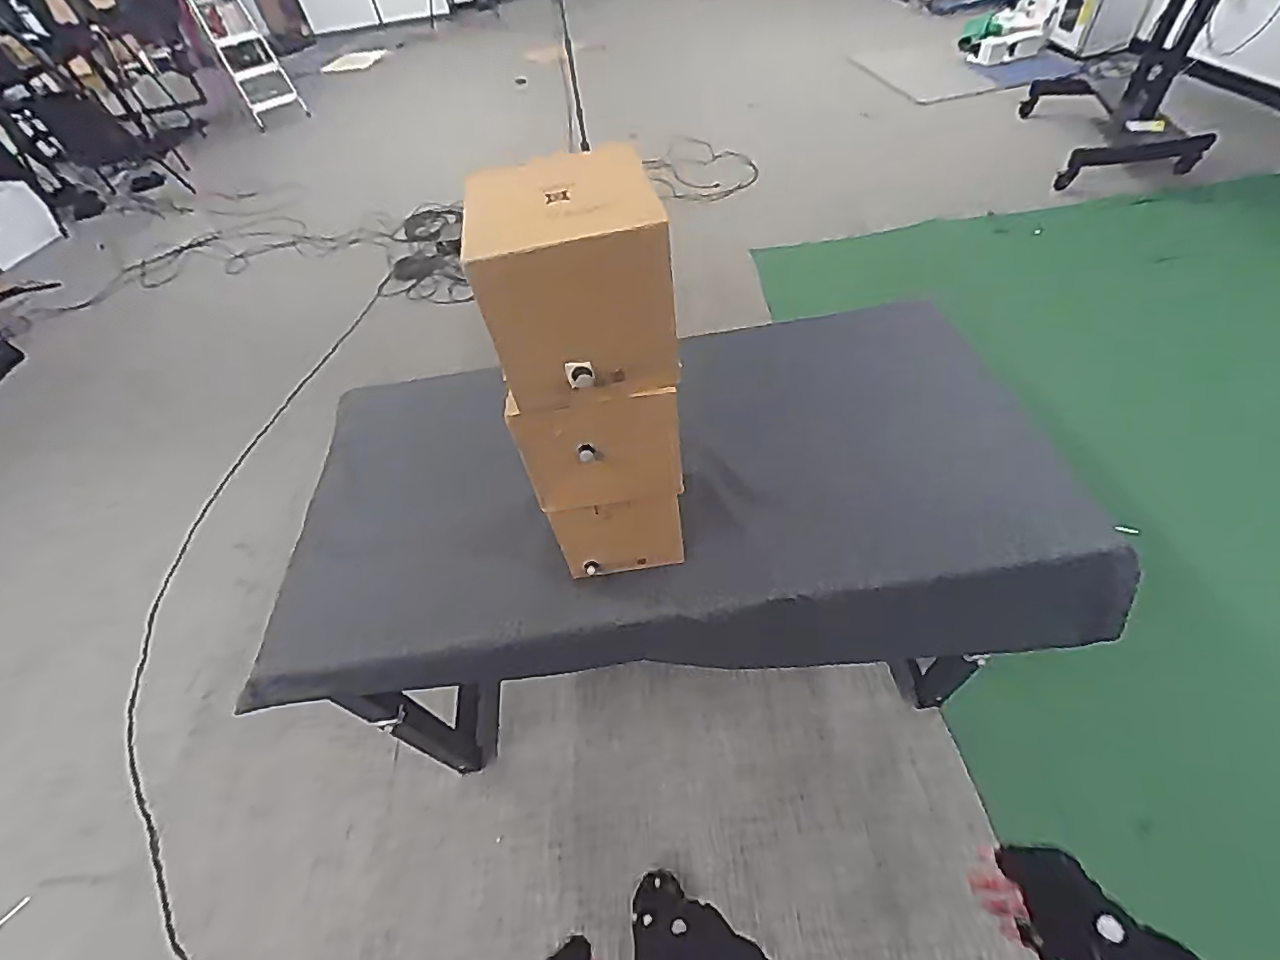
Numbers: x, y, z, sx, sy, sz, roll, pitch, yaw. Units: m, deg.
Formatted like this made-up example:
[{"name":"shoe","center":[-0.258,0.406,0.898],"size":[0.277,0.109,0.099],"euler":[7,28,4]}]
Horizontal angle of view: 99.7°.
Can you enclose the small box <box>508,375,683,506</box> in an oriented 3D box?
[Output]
[{"name":"small box","center":[-0.050,-0.087,0.662],"size":[0.179,0.176,0.168],"euler":[-10,48,-1]}]

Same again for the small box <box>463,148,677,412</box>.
[{"name":"small box","center":[-0.064,-0.195,0.538],"size":[0.168,0.176,0.179],"euler":[-13,51,-1]}]

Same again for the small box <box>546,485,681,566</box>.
[{"name":"small box","center":[-0.036,0.011,0.788],"size":[0.168,0.176,0.179],"euler":[-9,49,1]}]
